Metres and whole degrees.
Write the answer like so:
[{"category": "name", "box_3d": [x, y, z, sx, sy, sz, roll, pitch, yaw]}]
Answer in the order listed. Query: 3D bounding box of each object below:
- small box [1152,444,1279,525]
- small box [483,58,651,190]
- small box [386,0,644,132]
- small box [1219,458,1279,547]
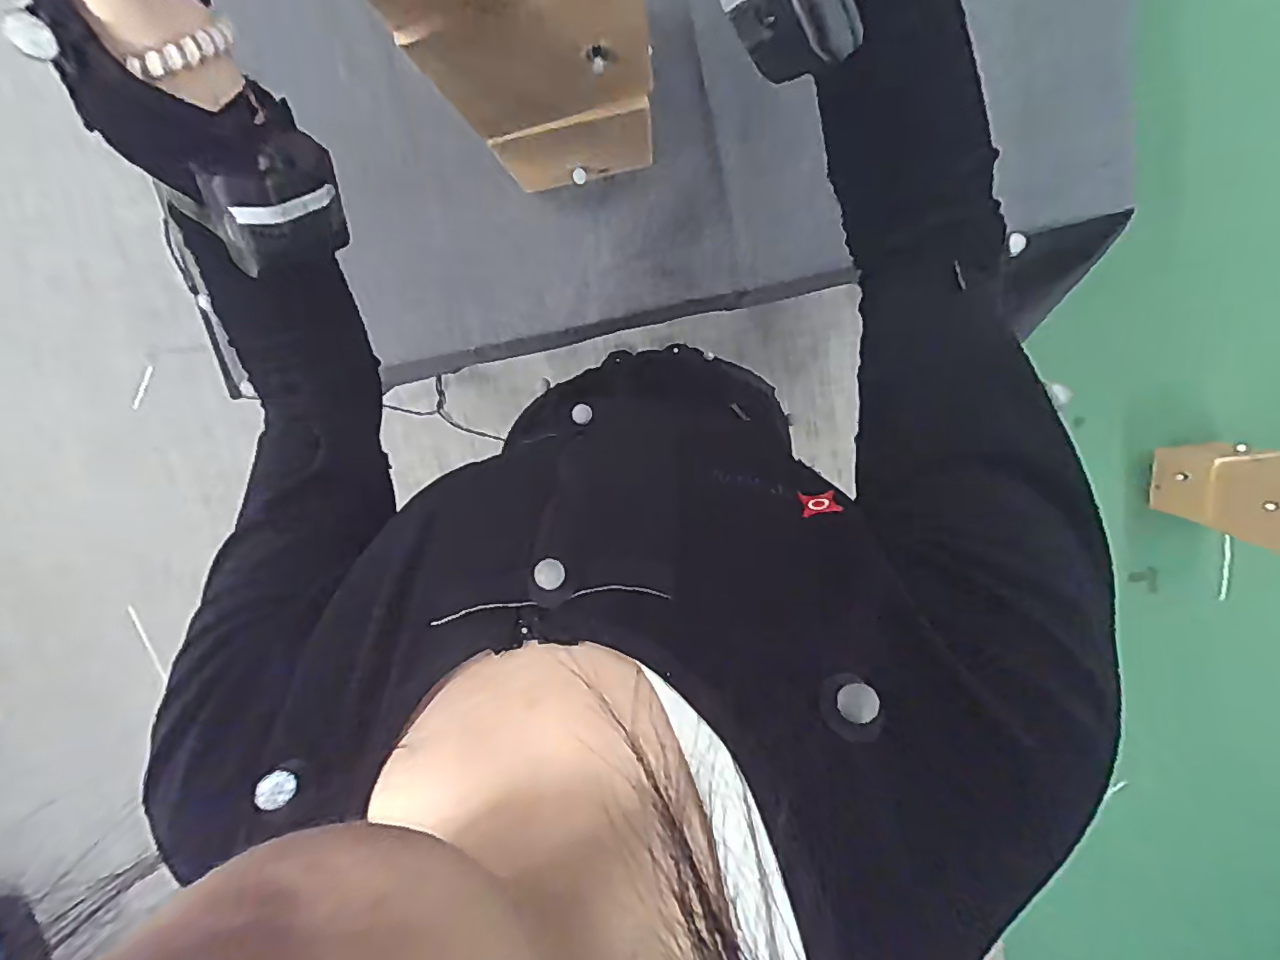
[{"category": "small box", "box_3d": [1.448, 0.008, 1.357, 0.179, 0.176, 0.168, -6, 102, 3]}, {"category": "small box", "box_3d": [-0.083, -0.442, 0.580, 0.168, 0.176, 0.179, -10, 102, 5]}, {"category": "small box", "box_3d": [-0.095, -0.410, 0.421, 0.179, 0.176, 0.168, -12, 101, 5]}, {"category": "small box", "box_3d": [1.453, 0.049, 1.198, 0.168, 0.176, 0.179, -7, 103, 4]}]
